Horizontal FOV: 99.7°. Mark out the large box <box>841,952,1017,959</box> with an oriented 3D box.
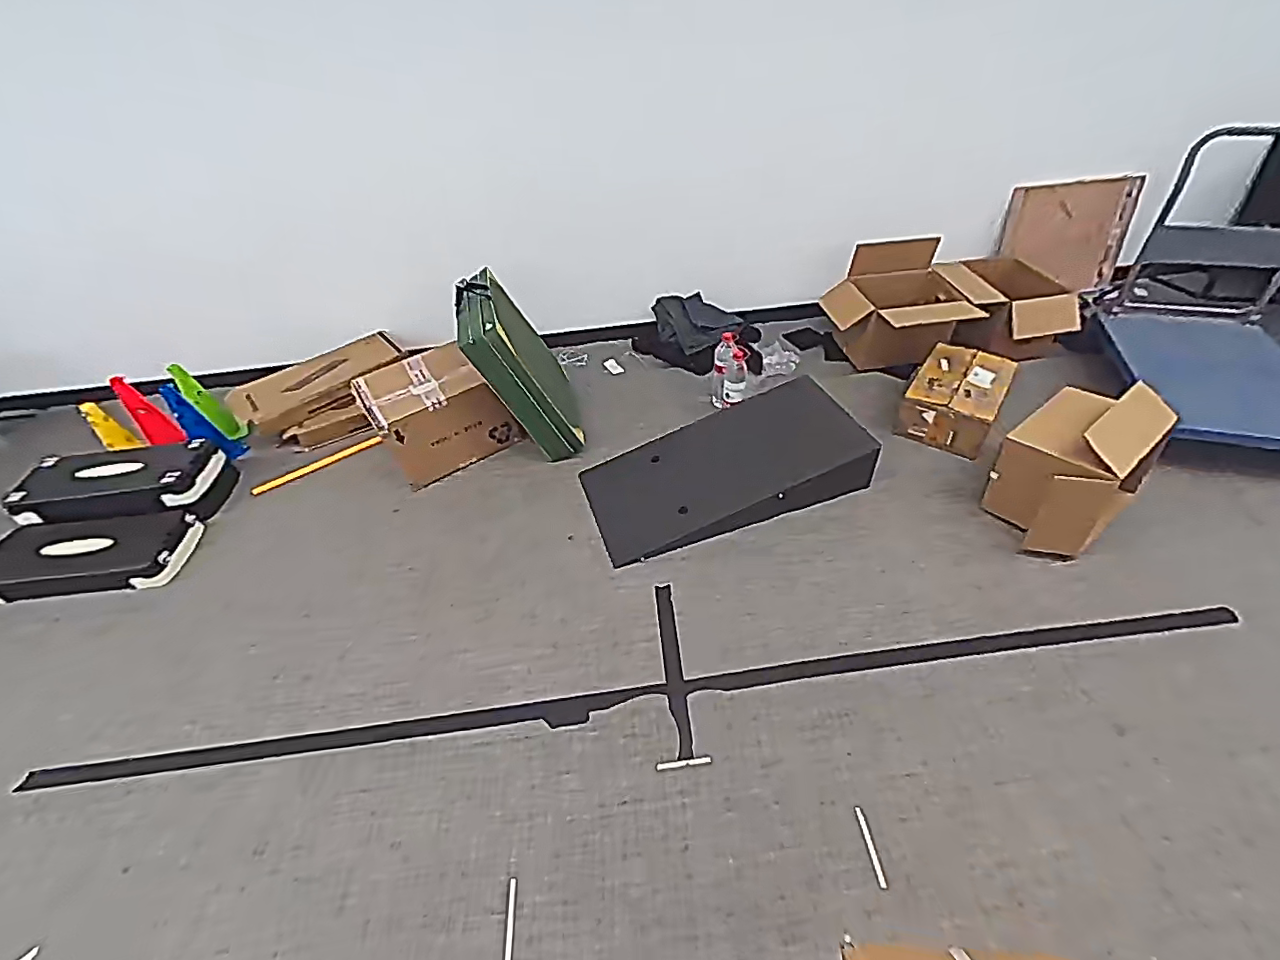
[{"bbox_3d":[0.428,0.784,0.547,0.320,0.408,0.320,0,75,5],"label":"large box"}]
